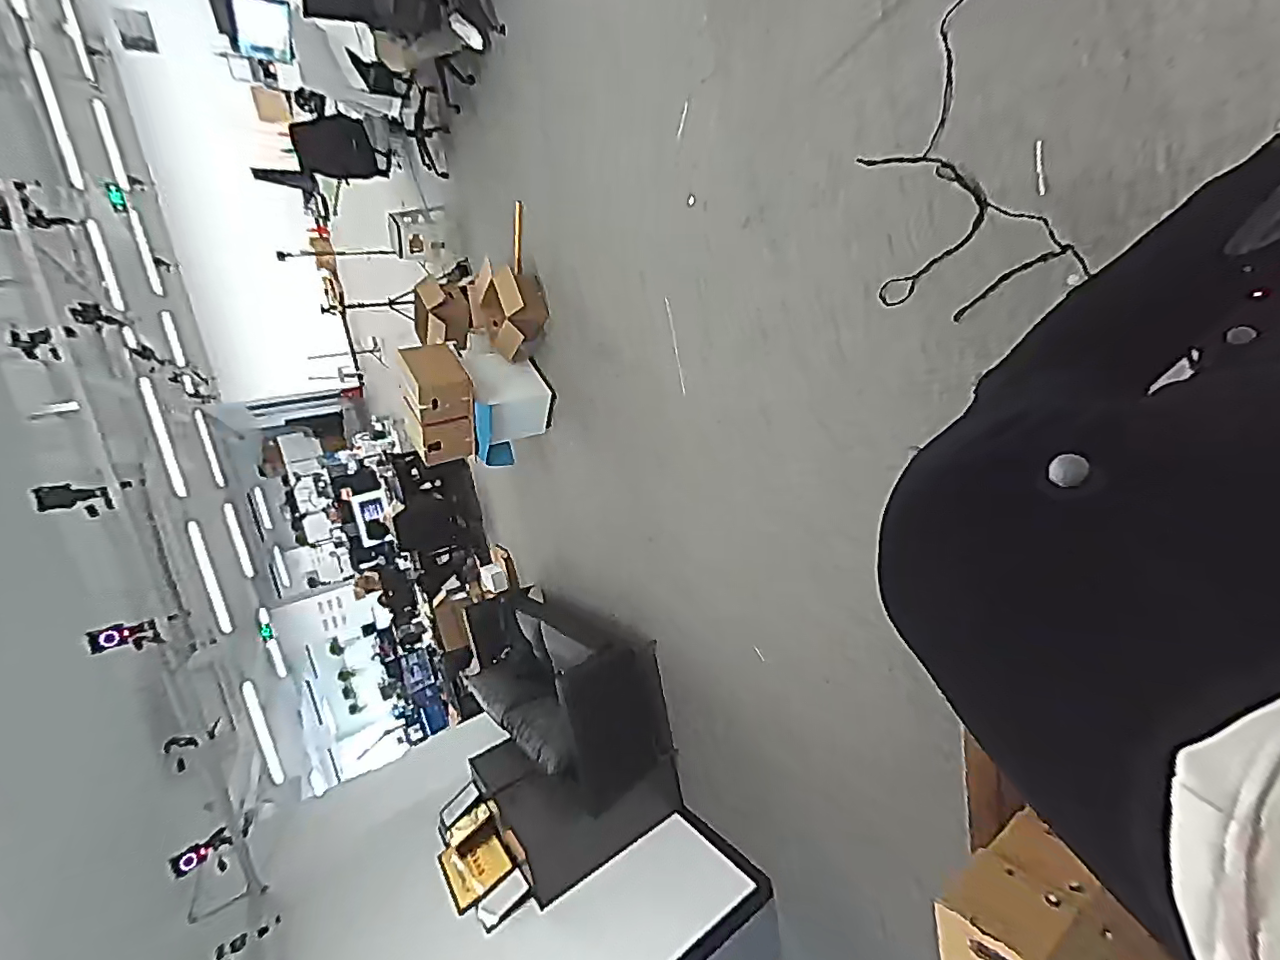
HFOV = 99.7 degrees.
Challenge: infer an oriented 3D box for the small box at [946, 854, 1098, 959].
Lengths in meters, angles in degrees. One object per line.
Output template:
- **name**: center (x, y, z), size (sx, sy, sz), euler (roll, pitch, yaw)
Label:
- **small box**: center (0.667, 0.813, 0.944), size (0.168, 0.176, 0.179), euler (2, 104, 58)

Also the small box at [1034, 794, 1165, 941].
- **small box**: center (0.946, 0.768, 1.114), size (0.168, 0.176, 0.179), euler (6, 106, 58)
